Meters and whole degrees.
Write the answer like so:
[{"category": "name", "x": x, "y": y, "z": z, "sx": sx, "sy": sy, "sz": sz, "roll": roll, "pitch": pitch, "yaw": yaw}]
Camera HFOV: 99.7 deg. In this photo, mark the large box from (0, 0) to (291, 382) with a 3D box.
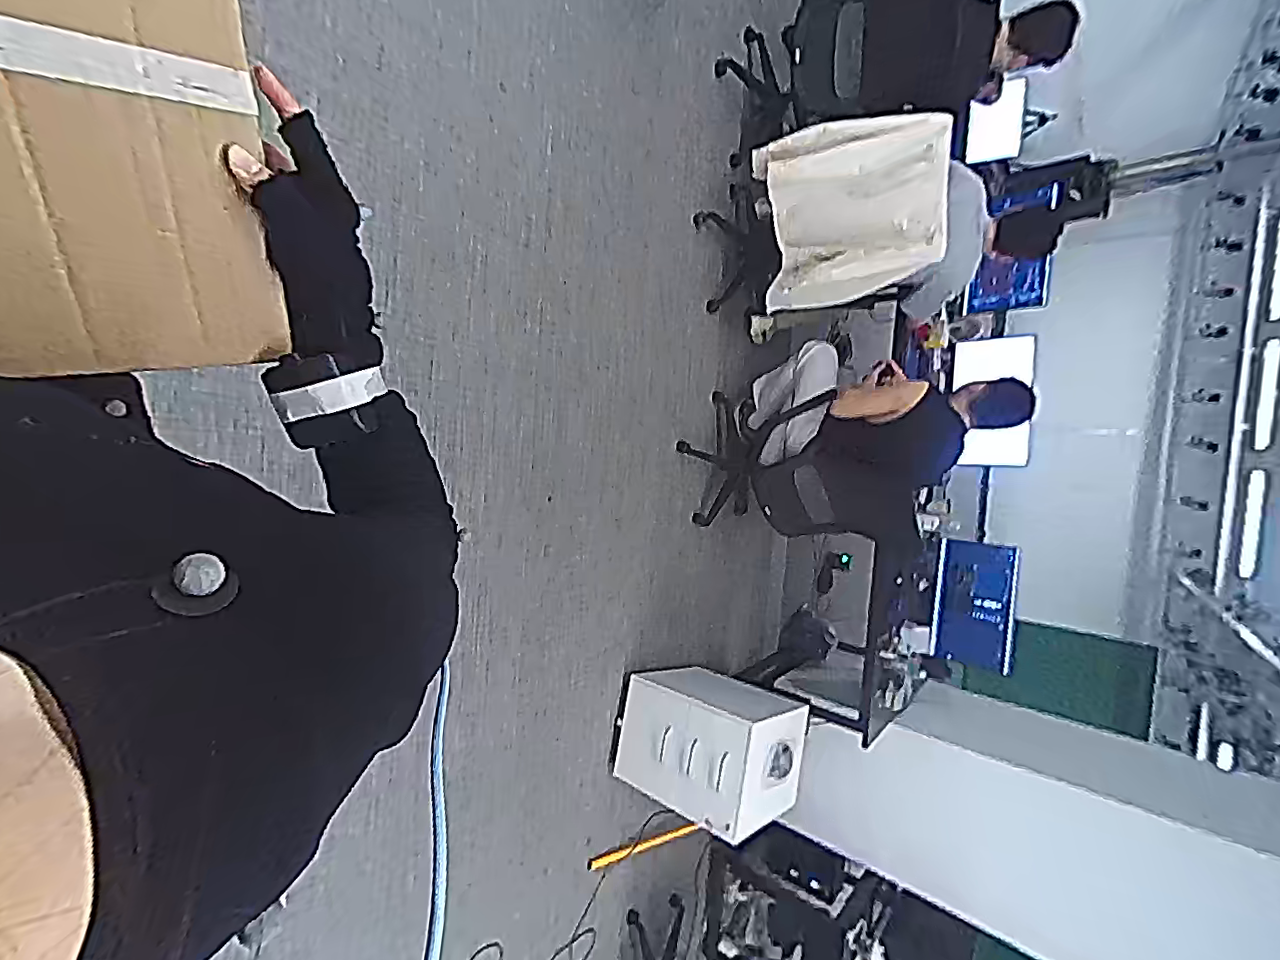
[{"category": "large box", "x": -0.482, "y": -0.238, "z": 0.291, "sx": 0.408, "sy": 0.320, "sz": 0.320, "roll": -18, "pitch": 128, "yaw": -40}]
